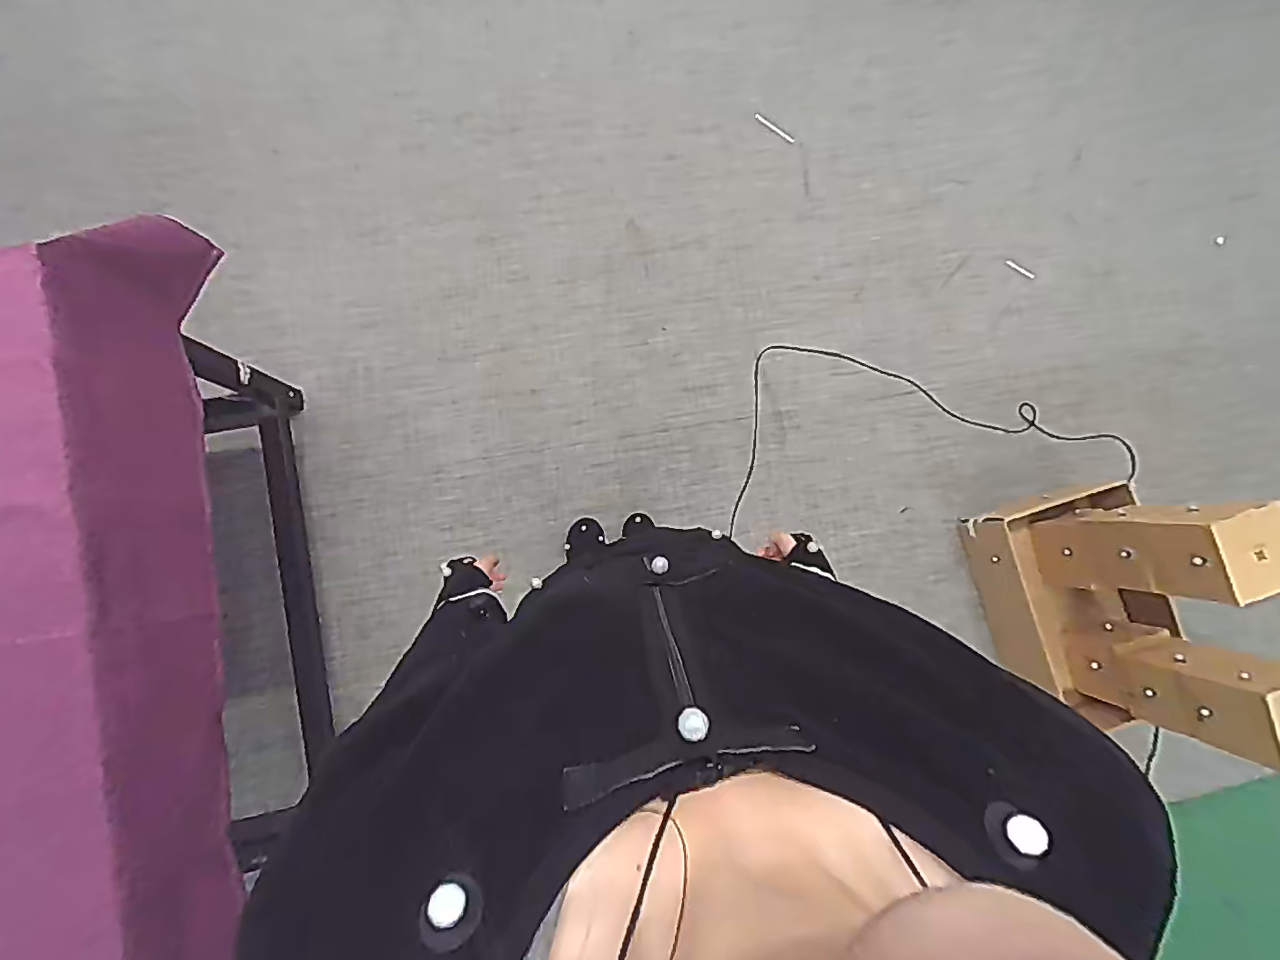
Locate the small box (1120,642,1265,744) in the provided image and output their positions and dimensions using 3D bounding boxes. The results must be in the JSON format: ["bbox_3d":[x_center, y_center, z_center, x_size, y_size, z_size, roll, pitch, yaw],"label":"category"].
[{"bbox_3d":[1.317,0.507,1.307,0.179,0.176,0.168,-13,87,-6],"label":"small box"}]

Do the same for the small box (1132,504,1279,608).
[{"bbox_3d":[1.237,0.158,1.170,0.168,0.176,0.179,-18,86,-4],"label":"small box"}]

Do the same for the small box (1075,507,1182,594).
[{"bbox_3d":[1.226,0.170,1.331,0.168,0.176,0.179,-13,87,-4],"label":"small box"}]

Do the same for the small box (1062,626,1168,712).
[{"bbox_3d":[1.302,0.506,1.472,0.168,0.176,0.179,-13,86,-5],"label":"small box"}]
